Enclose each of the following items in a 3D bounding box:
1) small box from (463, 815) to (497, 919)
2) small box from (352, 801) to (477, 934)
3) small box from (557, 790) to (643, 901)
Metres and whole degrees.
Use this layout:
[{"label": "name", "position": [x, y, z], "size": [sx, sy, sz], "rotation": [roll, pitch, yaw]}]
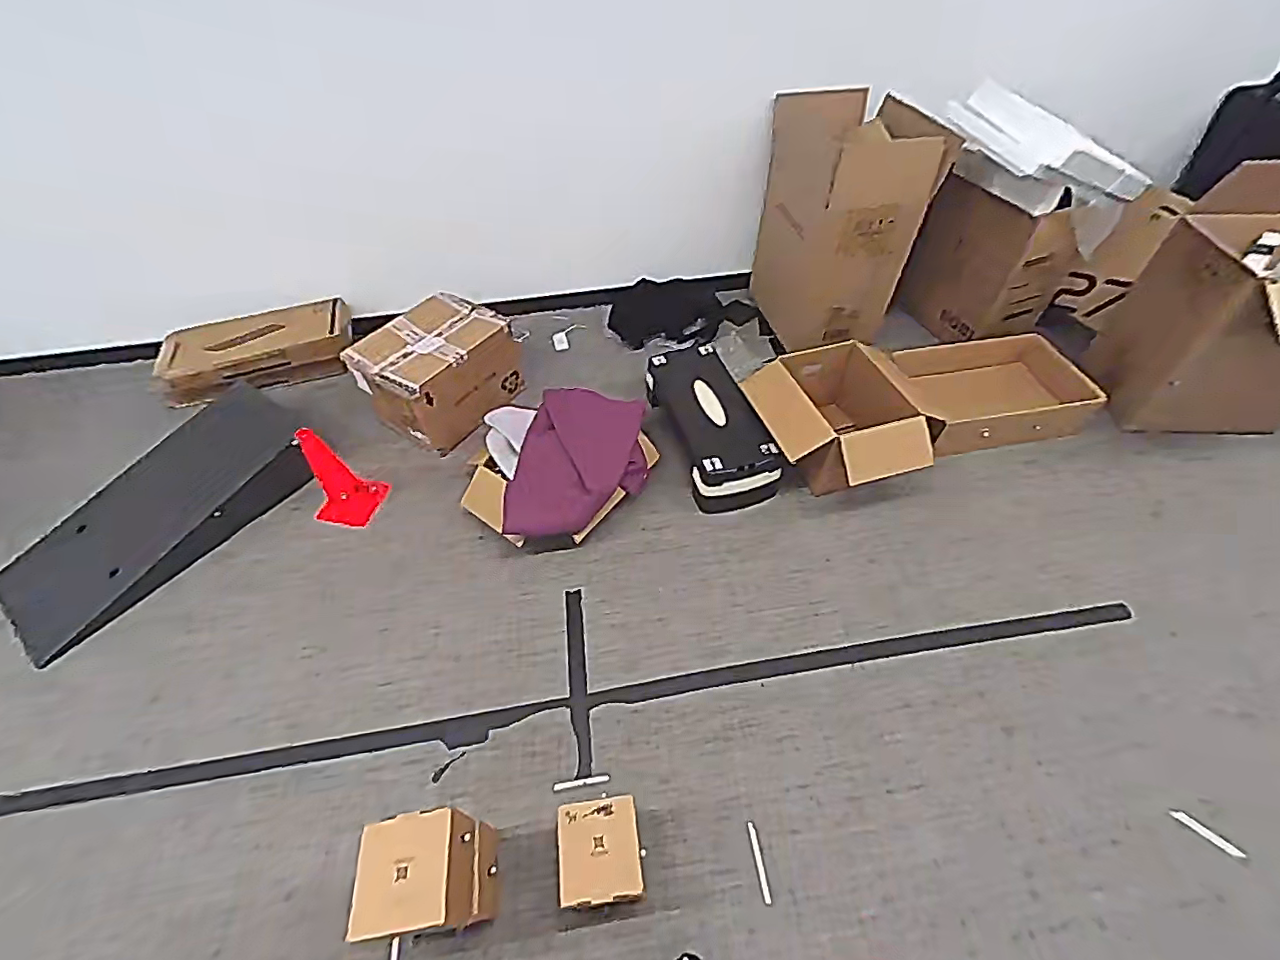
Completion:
[{"label": "small box", "position": [-0.409, 0.839, 1.162], "size": [0.179, 0.176, 0.168], "rotation": [-10, 50, -5]}, {"label": "small box", "position": [-0.417, 0.740, 1.034], "size": [0.168, 0.176, 0.179], "rotation": [-10, 52, -3]}, {"label": "small box", "position": [-0.085, 0.800, 1.182], "size": [0.168, 0.176, 0.179], "rotation": [-7, 51, -3]}]
